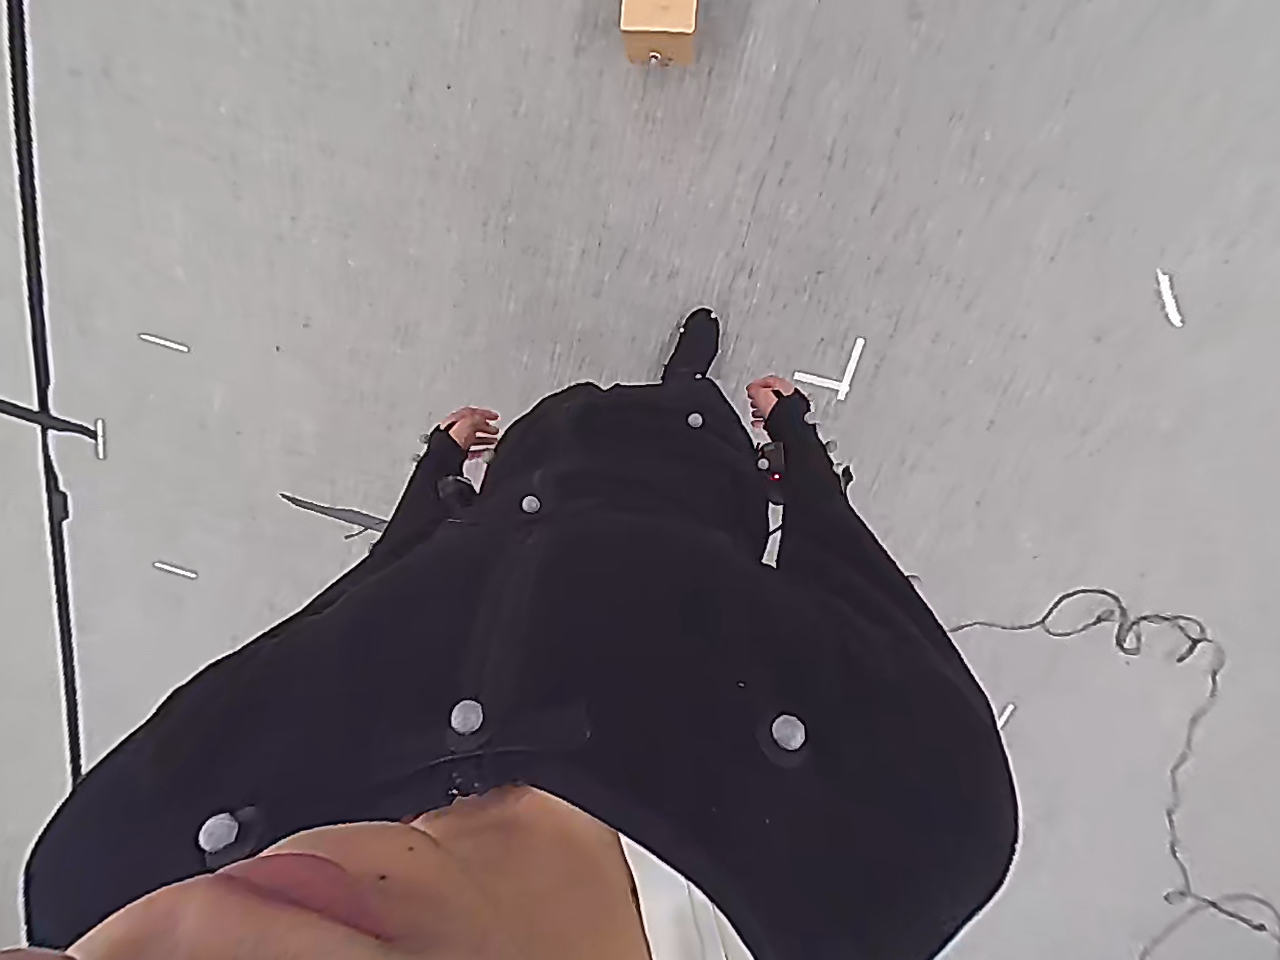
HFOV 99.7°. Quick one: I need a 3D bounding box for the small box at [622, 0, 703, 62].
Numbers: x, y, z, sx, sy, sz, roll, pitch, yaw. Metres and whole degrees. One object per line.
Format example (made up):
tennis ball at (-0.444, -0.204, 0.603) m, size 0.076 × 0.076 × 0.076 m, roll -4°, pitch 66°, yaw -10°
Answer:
small box at (0.057, -1.092, 1.225) m, size 0.168 × 0.176 × 0.179 m, roll 7°, pitch 108°, yaw 5°
